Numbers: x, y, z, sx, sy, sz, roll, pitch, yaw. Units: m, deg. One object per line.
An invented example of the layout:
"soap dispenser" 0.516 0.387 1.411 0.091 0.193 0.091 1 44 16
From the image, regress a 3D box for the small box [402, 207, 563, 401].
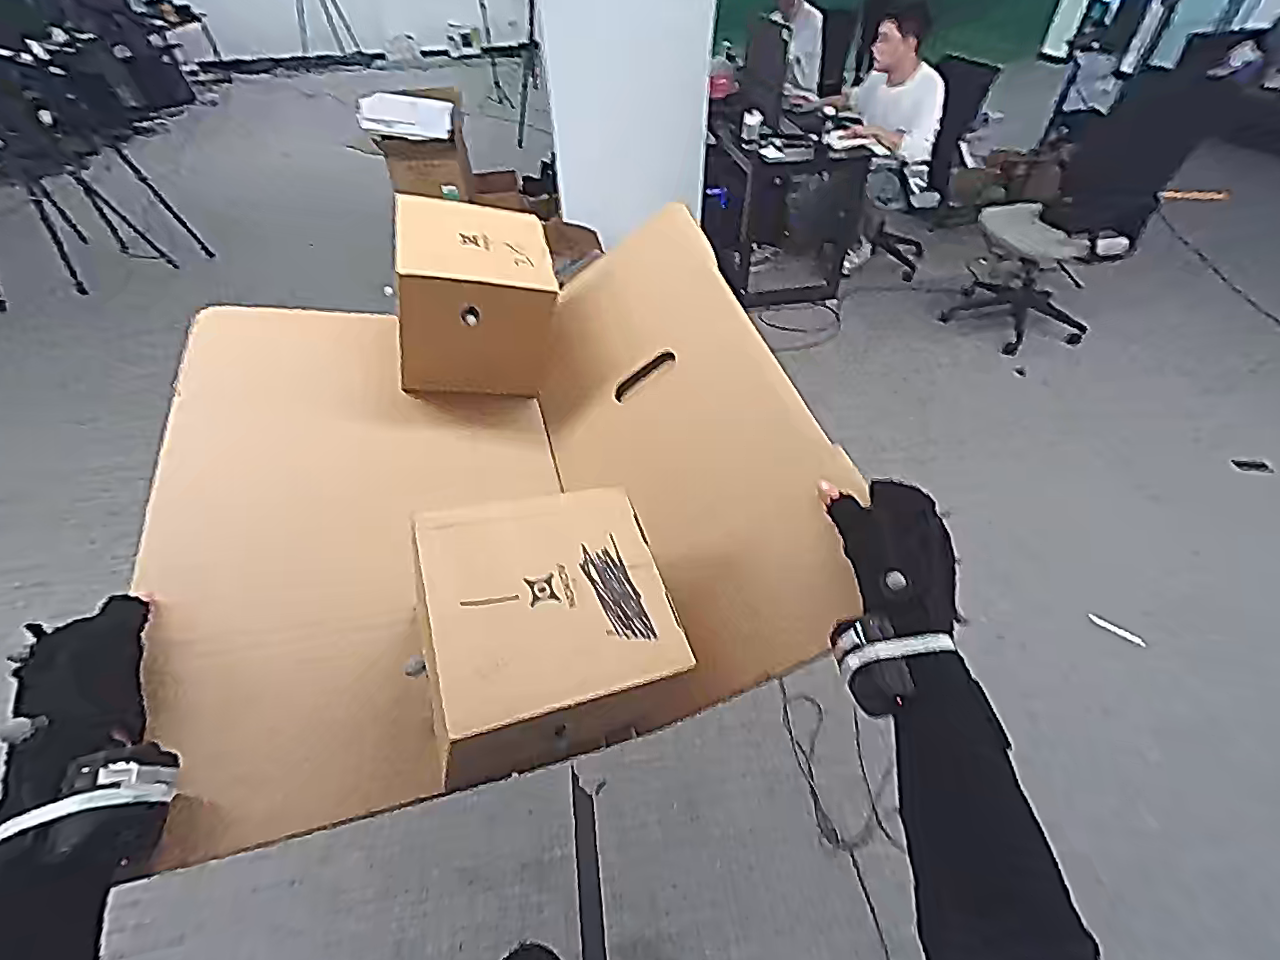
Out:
"small box" -0.211 -0.220 0.704 0.179 0.176 0.168 1 52 -23
